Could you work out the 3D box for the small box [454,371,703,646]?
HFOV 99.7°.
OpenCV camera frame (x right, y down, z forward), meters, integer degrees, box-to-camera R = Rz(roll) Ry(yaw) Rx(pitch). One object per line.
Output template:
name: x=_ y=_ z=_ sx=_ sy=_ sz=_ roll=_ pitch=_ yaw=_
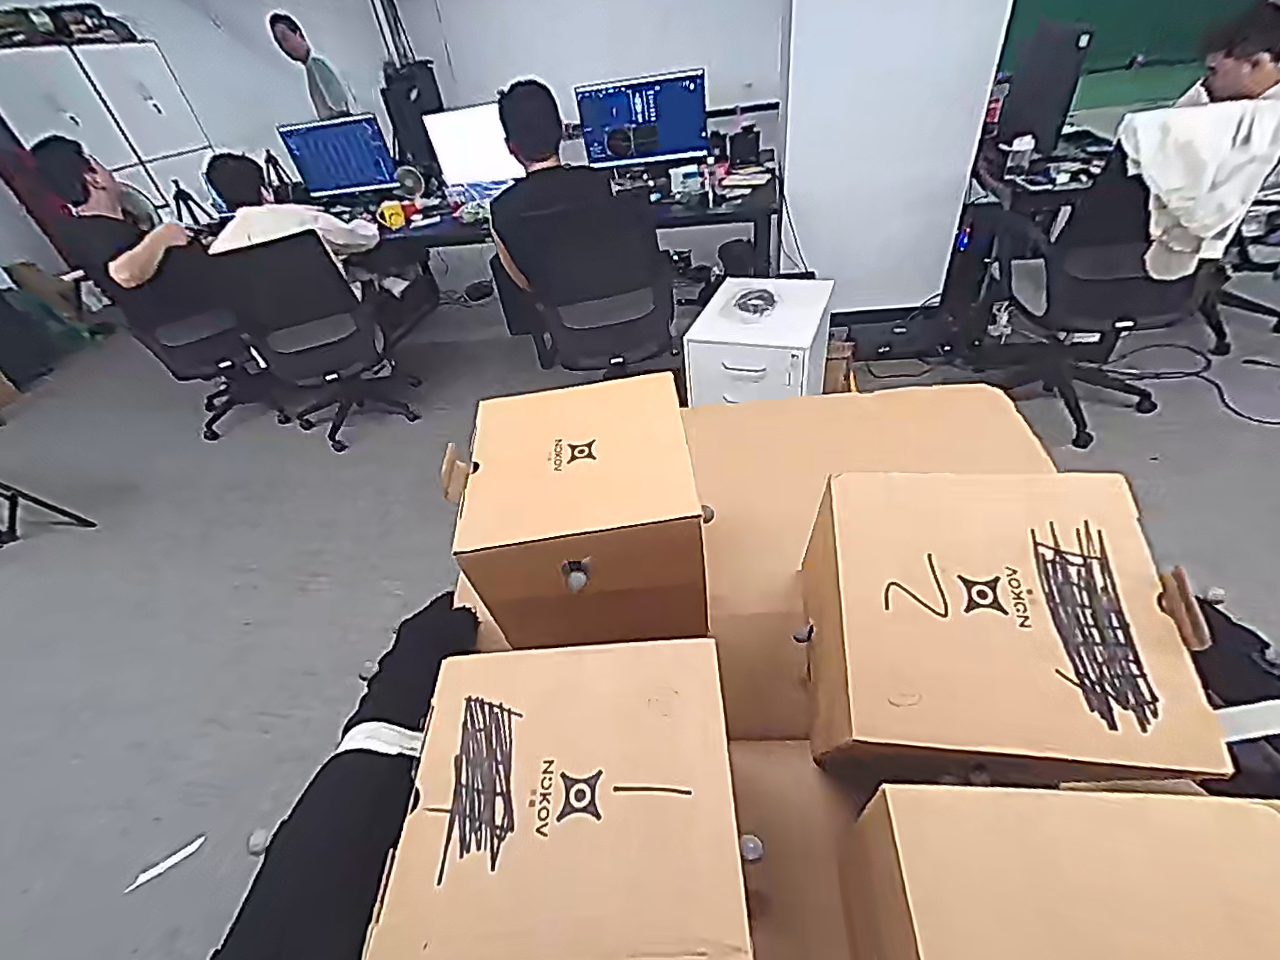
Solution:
small box: x=-0.041 y=0.030 z=0.488 sx=0.179 sy=0.176 sz=0.168 roll=-10 pitch=46 yaw=3
